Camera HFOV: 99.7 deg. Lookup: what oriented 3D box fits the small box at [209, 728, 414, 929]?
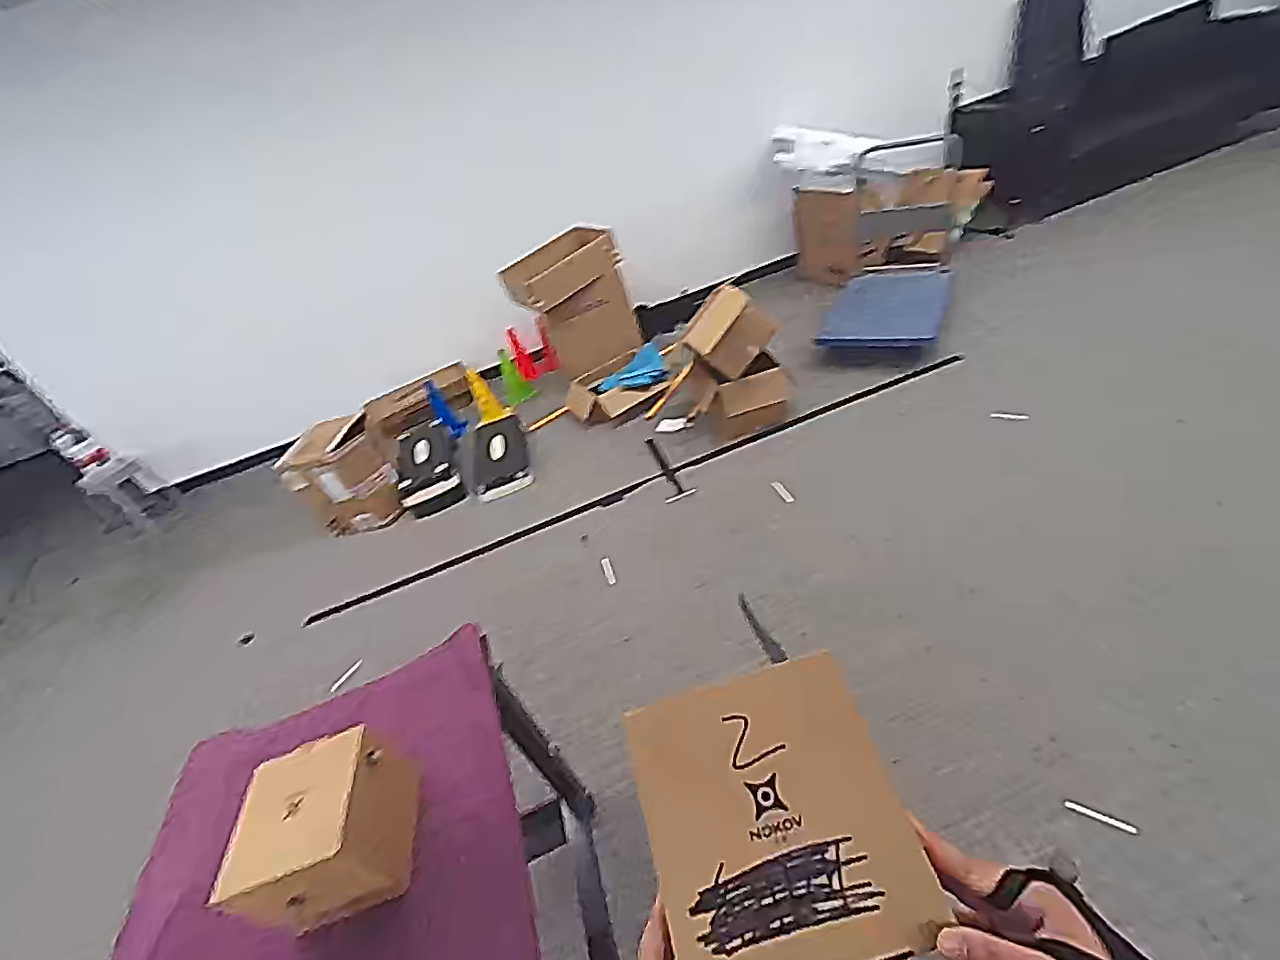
[{"bbox_3d":[-0.442,0.497,0.767,0.168,0.176,0.179,-21,36,-2],"label":"small box"}]
